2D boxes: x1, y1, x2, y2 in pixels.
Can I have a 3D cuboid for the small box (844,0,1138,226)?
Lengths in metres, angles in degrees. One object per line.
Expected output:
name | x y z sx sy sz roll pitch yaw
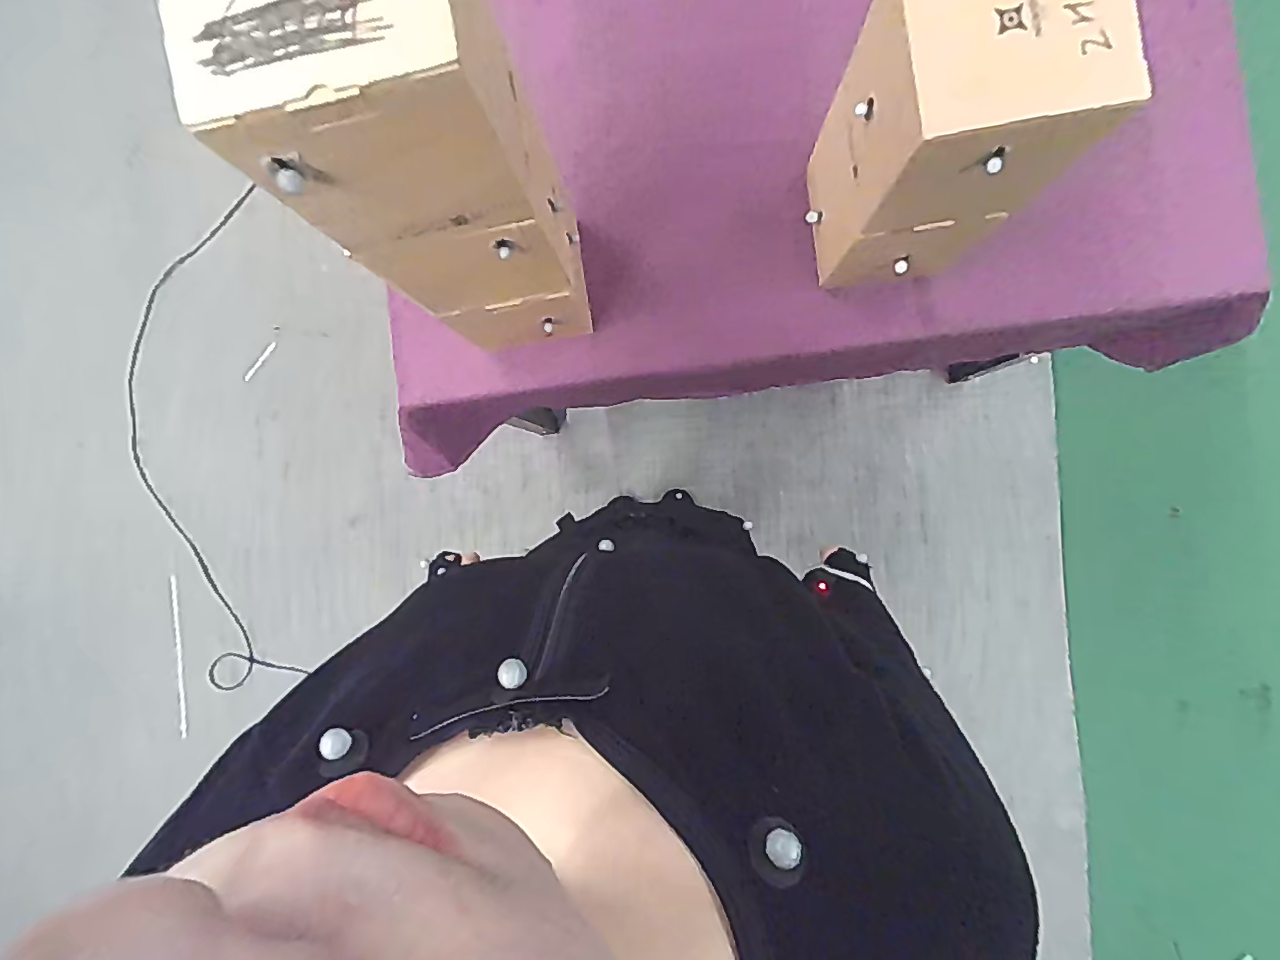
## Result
small box | 0.306 -0.366 0.515 0.179 0.176 0.168 -7 90 4

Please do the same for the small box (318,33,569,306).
small box | -0.183 -0.293 0.551 0.179 0.176 0.168 -10 90 2

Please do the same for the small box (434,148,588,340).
small box | -0.169 -0.293 0.713 0.168 0.176 0.179 -8 89 3

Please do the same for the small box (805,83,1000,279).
small box | 0.315 -0.368 0.680 0.168 0.176 0.179 -6 90 4
